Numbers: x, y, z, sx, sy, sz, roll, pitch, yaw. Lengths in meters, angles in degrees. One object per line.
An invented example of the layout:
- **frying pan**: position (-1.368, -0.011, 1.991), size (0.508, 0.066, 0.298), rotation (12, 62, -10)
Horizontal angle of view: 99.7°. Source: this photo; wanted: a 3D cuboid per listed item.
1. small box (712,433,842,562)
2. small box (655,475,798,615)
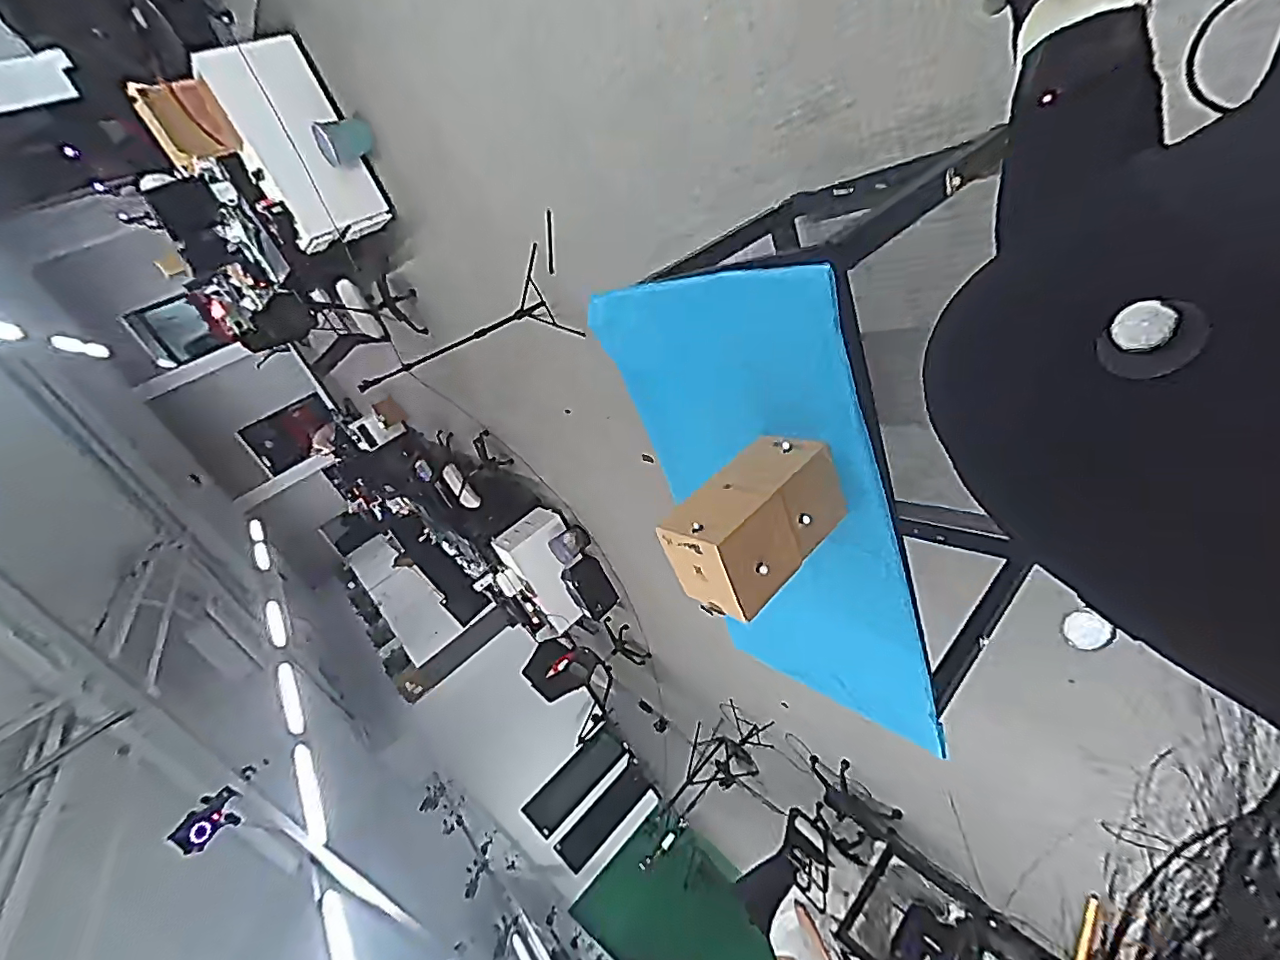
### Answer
- **small box**: position (0.280, 0.029, 1.086), size (0.168, 0.176, 0.179), rotation (14, 135, 52)
- **small box**: position (0.166, 0.113, 1.008), size (0.168, 0.176, 0.179), rotation (10, 131, 55)
